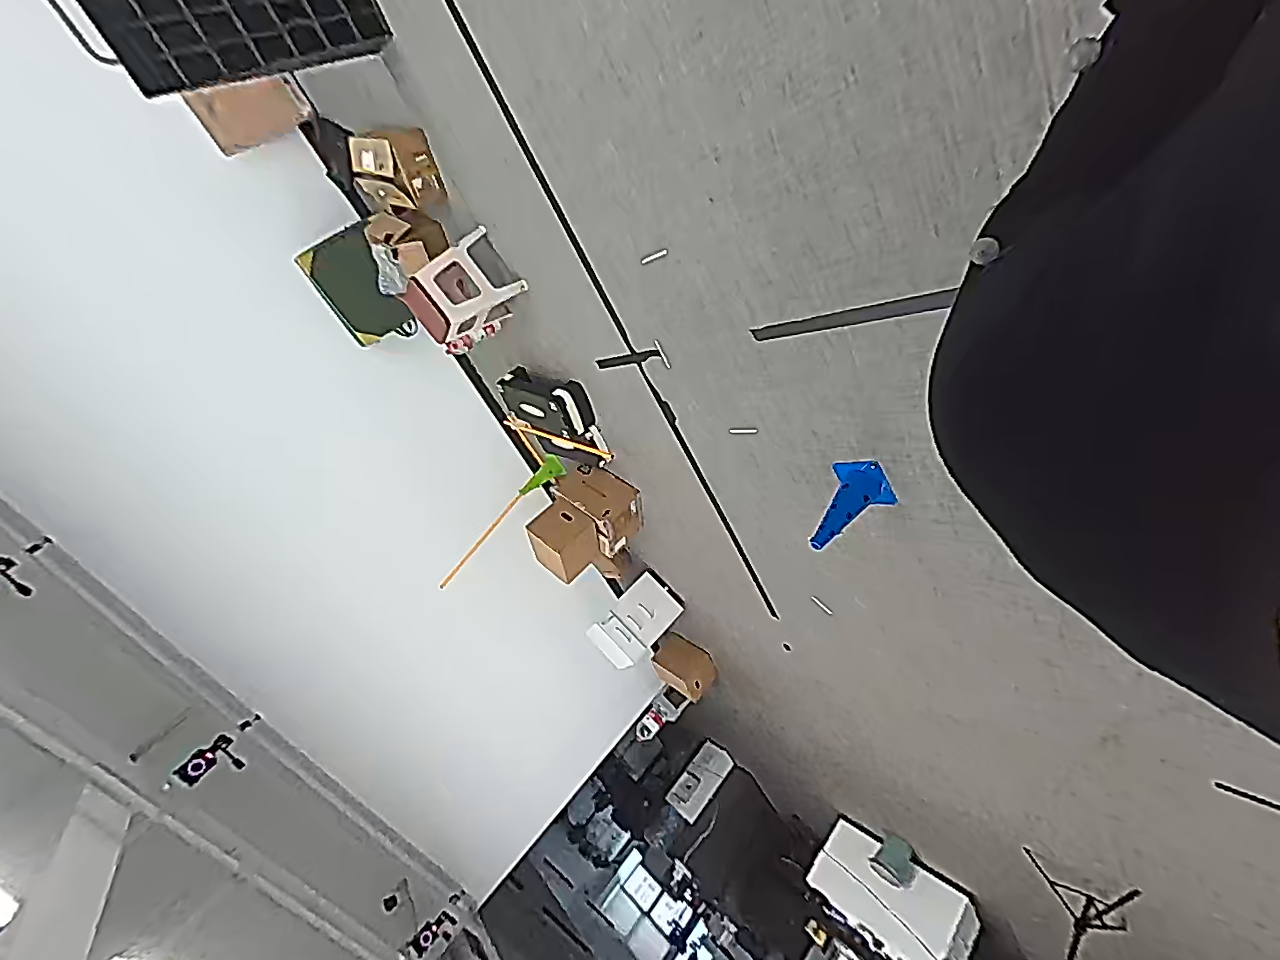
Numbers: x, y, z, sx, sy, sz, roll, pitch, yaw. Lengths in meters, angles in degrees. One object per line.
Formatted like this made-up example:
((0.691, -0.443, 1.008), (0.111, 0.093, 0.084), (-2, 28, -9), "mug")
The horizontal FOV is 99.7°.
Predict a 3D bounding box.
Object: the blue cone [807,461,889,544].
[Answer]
((0.722, 0.105, 1.963), (0.193, 0.380, 0.192), (0, 127, 57), "blue cone")
